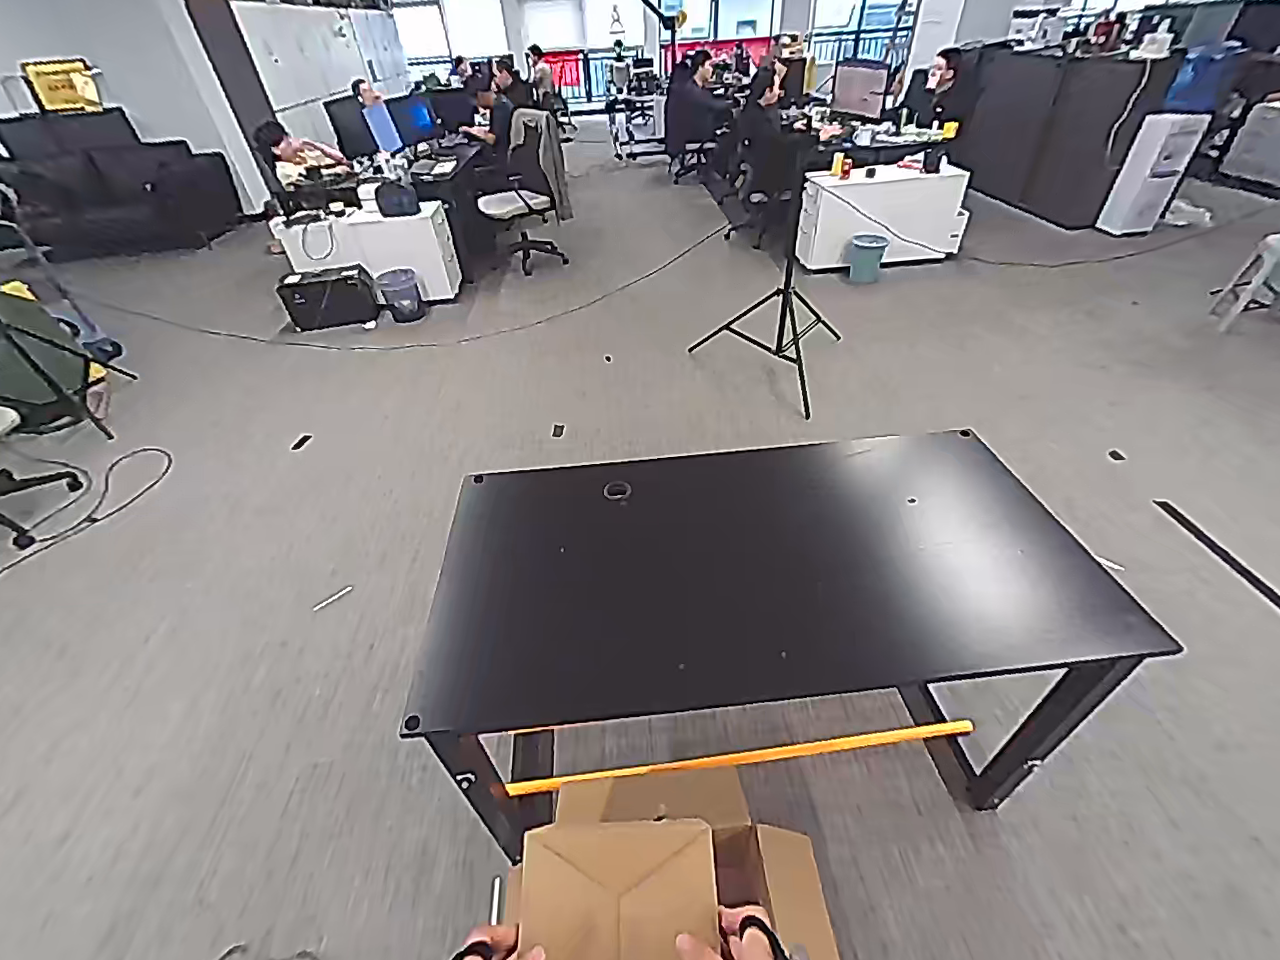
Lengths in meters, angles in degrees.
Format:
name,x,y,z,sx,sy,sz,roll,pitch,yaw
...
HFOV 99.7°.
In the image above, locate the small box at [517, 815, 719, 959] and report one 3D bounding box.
name,x,y,z,sx,sy,sz,roll,pitch,yaw
small box,-0.015,0.436,0.534,0.179,0.176,0.168,-4,59,0
